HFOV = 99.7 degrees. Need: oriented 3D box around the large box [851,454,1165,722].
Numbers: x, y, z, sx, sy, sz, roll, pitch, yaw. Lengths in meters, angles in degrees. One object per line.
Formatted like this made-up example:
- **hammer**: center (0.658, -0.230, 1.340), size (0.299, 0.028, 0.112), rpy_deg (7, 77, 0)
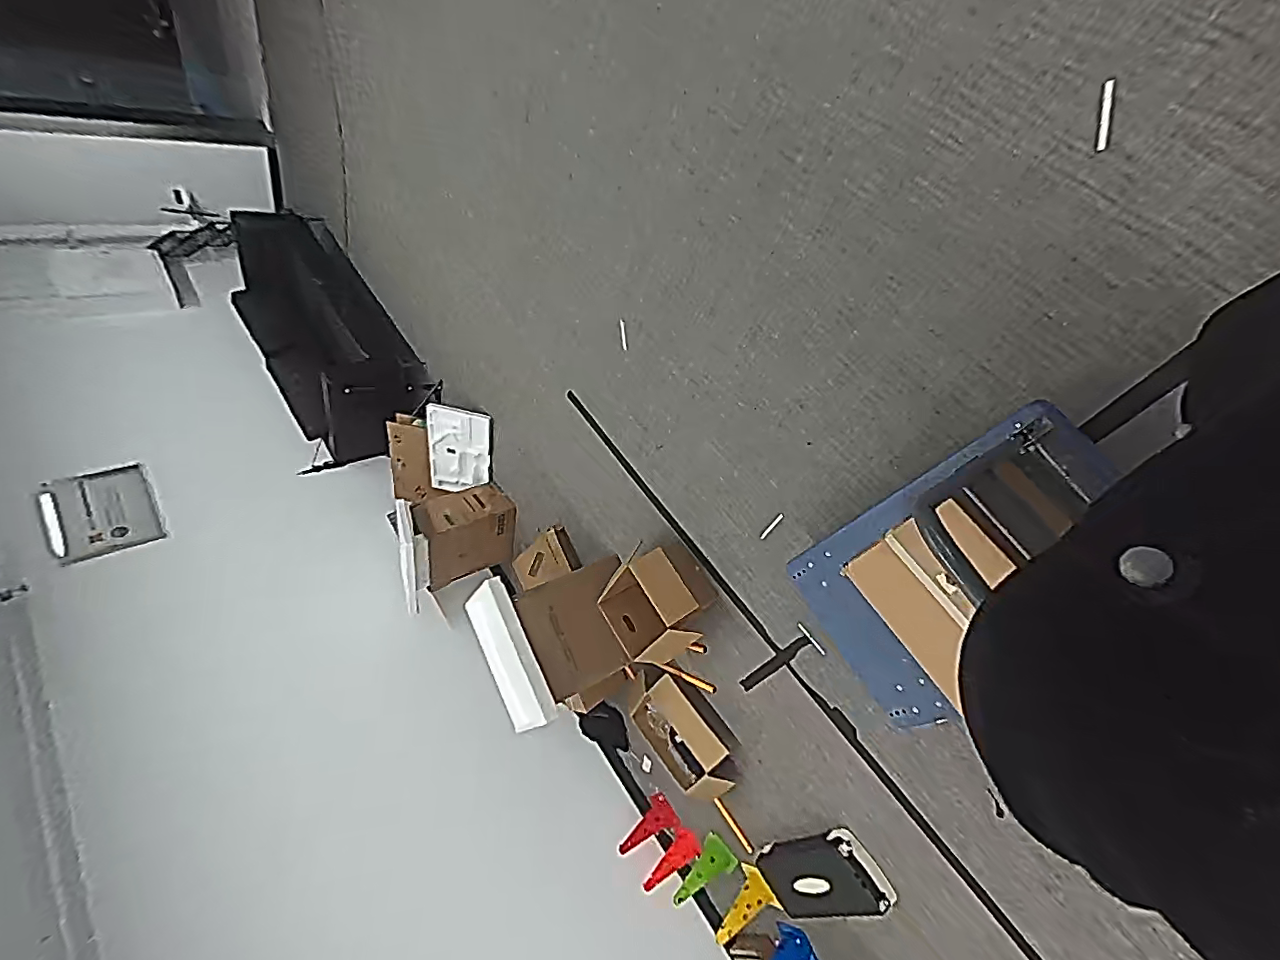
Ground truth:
- **large box**: center (0.754, 0.216, 1.142), size (0.408, 0.320, 0.320), rpy_deg (55, 140, 20)
